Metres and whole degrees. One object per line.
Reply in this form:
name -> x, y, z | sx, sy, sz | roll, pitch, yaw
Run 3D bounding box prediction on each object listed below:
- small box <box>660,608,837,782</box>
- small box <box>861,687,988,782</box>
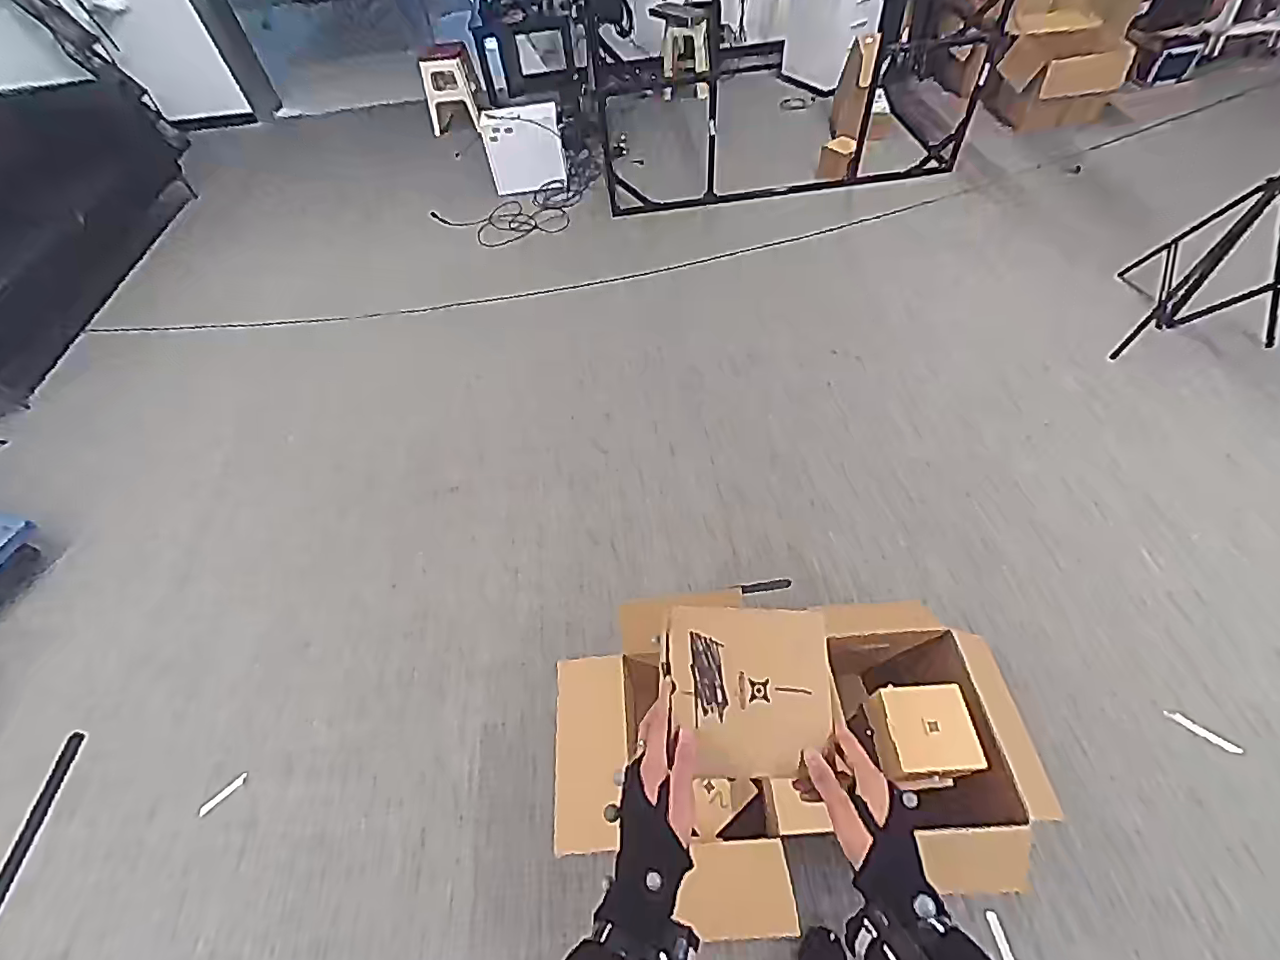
small box -> 0.114, 0.246, 0.640 | 0.179, 0.176, 0.168 | 2, 72, 0
small box -> 0.618, 0.566, 1.199 | 0.179, 0.176, 0.168 | -5, 55, 2
